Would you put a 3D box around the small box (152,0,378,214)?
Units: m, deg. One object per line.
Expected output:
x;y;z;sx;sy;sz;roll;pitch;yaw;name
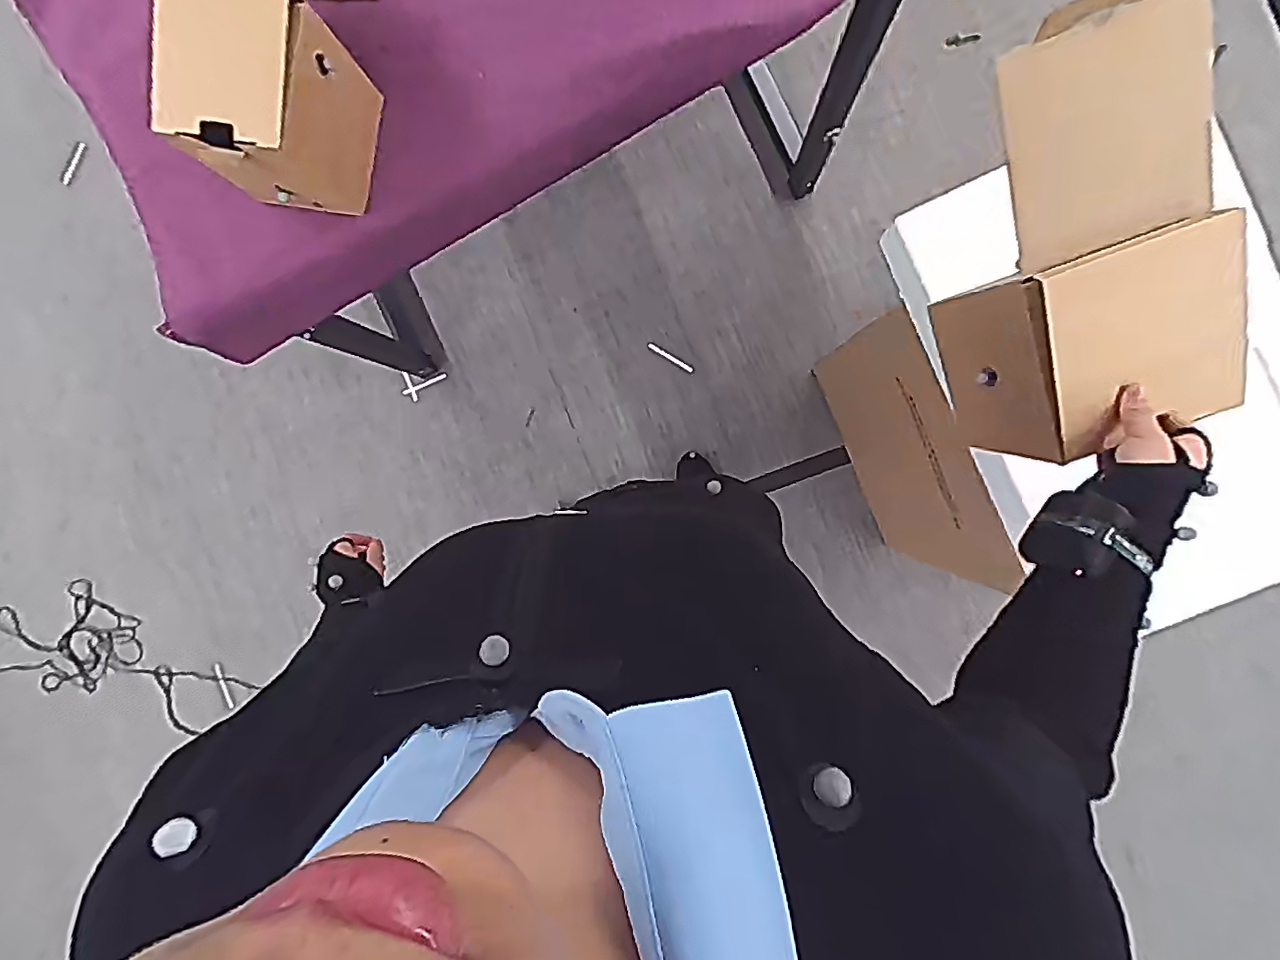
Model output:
-0.471;-0.482;0.706;0.168;0.176;0.179;10;92;5;small box
